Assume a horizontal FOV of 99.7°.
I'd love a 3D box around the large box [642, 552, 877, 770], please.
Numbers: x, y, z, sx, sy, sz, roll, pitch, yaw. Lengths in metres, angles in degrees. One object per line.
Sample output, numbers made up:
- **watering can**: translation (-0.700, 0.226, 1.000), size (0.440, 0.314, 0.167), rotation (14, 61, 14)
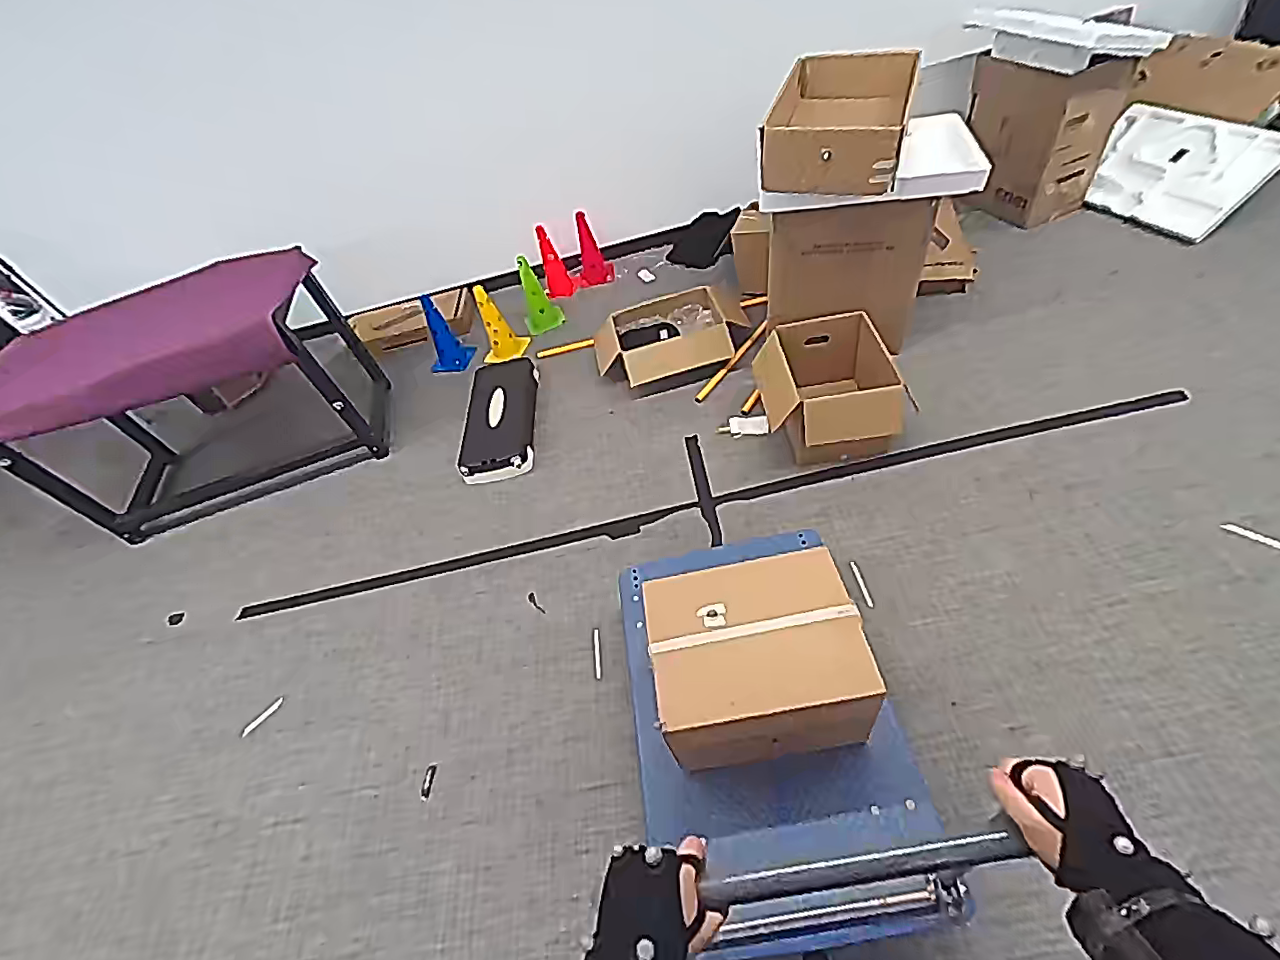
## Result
- **large box**: translation (0.247, 0.405, 1.185), size (0.408, 0.320, 0.320), rotation (-13, 47, 5)
